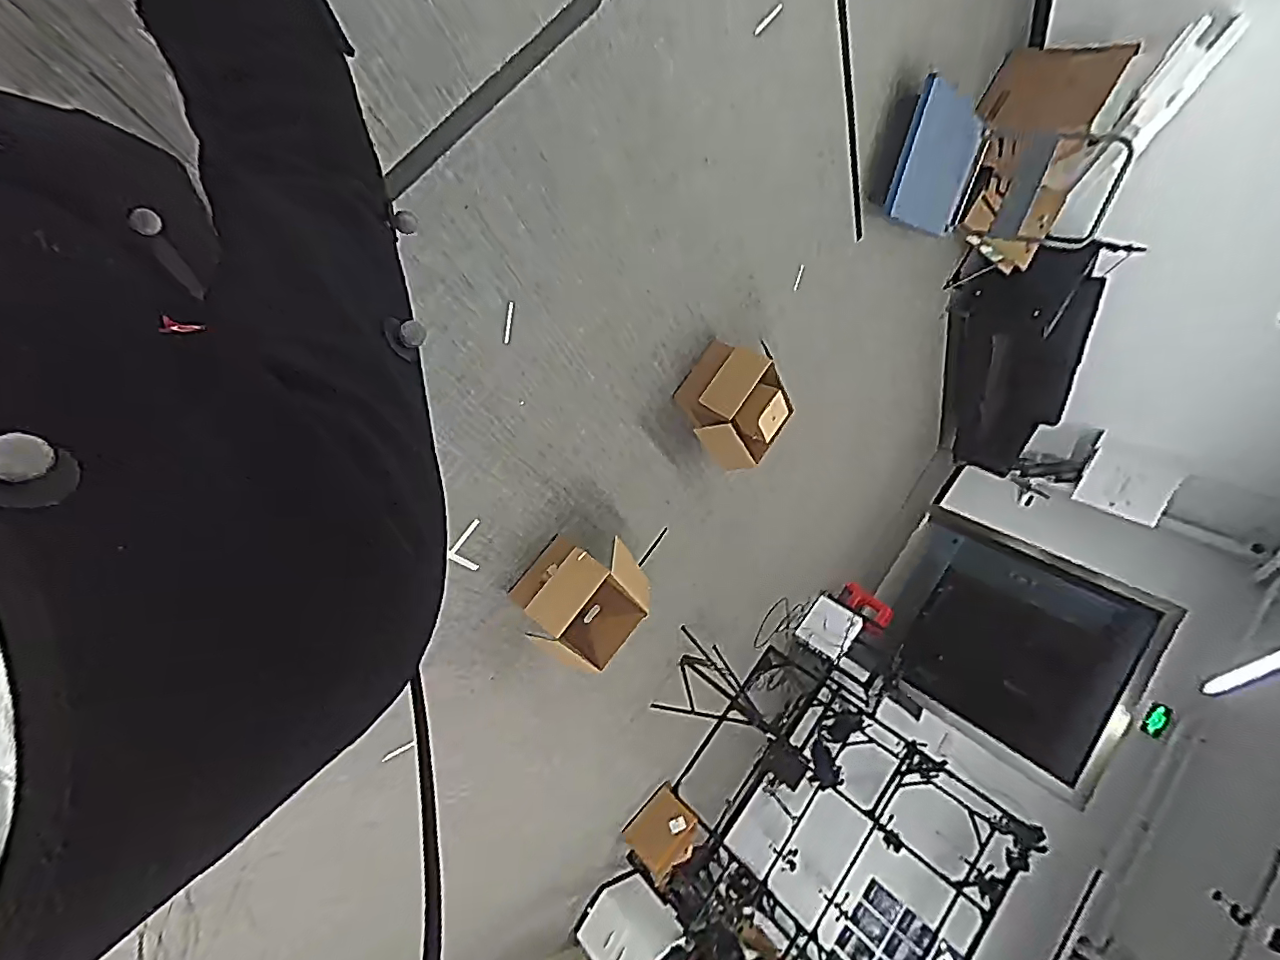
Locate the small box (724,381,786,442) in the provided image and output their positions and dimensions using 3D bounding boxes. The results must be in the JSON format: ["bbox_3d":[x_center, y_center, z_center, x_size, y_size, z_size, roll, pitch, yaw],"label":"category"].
[{"bbox_3d":[0.482,-0.291,2.268,0.168,0.176,0.179,-54,143,-8],"label":"small box"}]
